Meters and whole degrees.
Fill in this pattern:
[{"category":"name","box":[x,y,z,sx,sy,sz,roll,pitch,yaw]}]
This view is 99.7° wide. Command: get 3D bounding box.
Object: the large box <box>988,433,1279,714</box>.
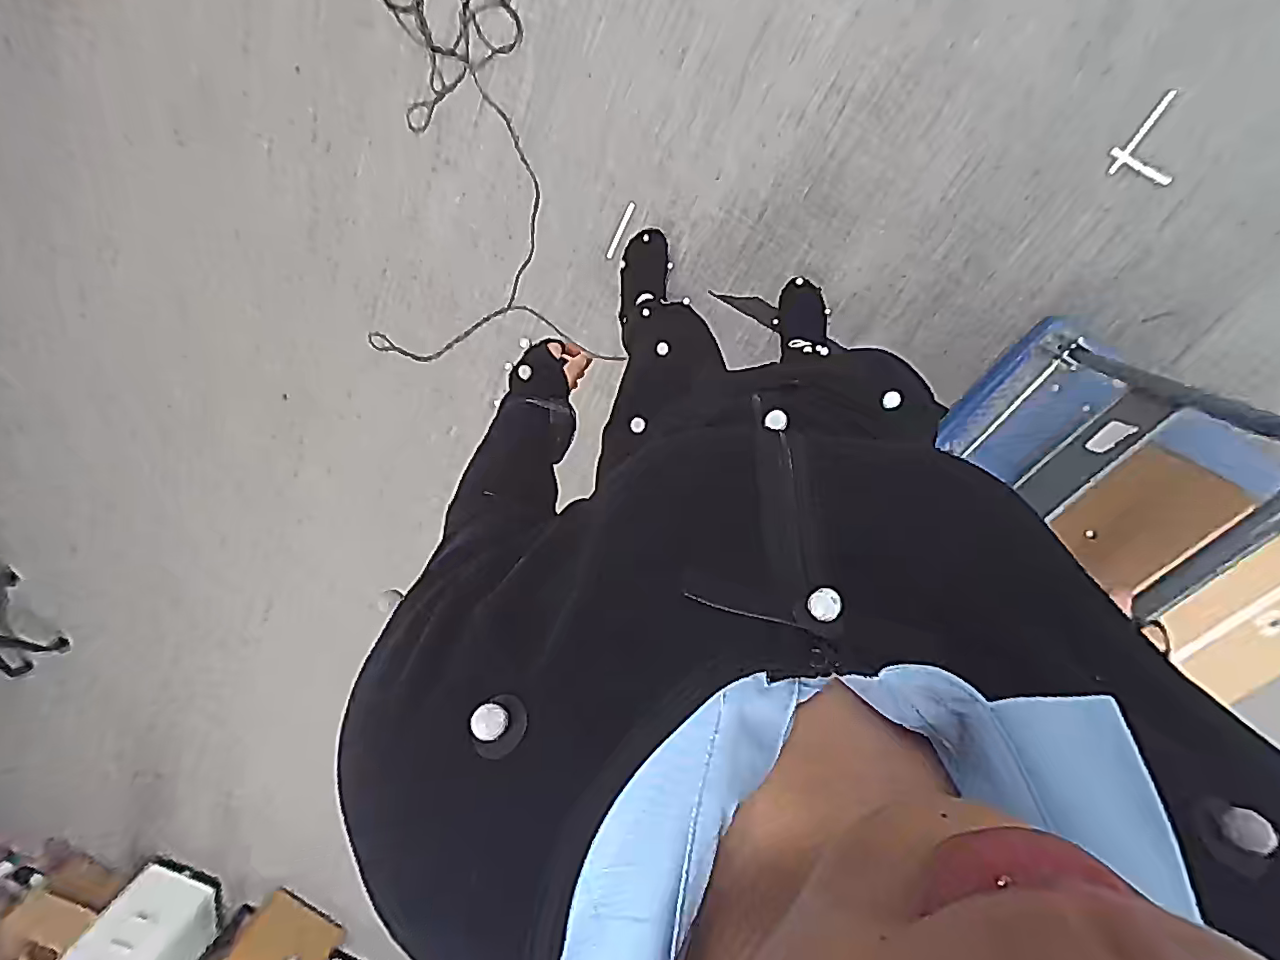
[{"category":"large box","box":[1.039,0.179,1.112,0.320,0.320,0.408,33,115,-4]}]
